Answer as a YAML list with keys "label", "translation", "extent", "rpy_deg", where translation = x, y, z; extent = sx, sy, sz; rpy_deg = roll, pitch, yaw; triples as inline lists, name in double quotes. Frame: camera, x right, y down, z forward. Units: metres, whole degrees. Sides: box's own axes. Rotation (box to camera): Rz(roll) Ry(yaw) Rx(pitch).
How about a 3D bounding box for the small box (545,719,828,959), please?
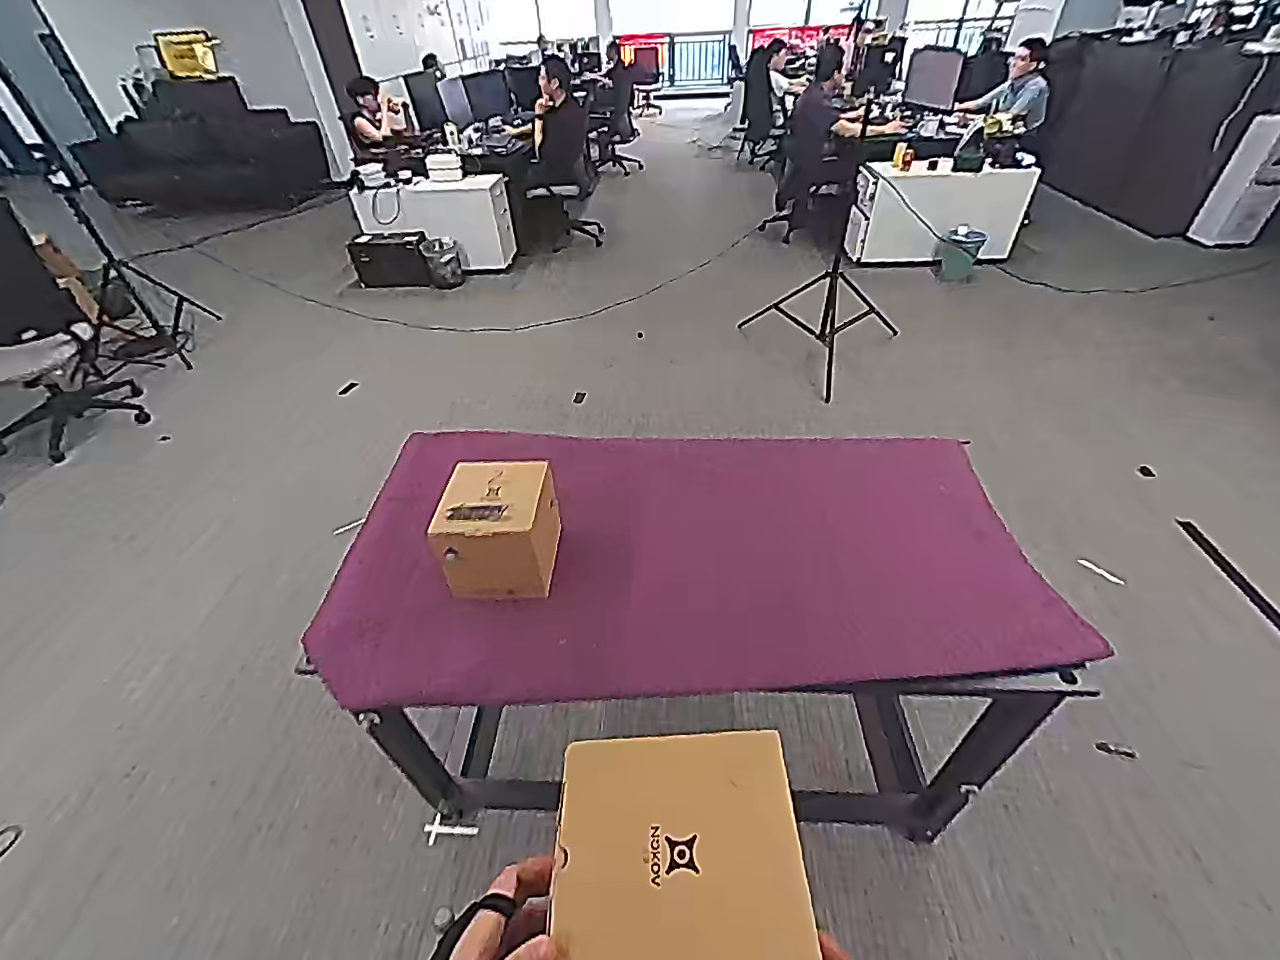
- label: "small box"
  translation: [0.038, 0.313, 0.432]
  extent: [0.179, 0.176, 0.168]
  rpy_deg: [-7, 40, 6]
